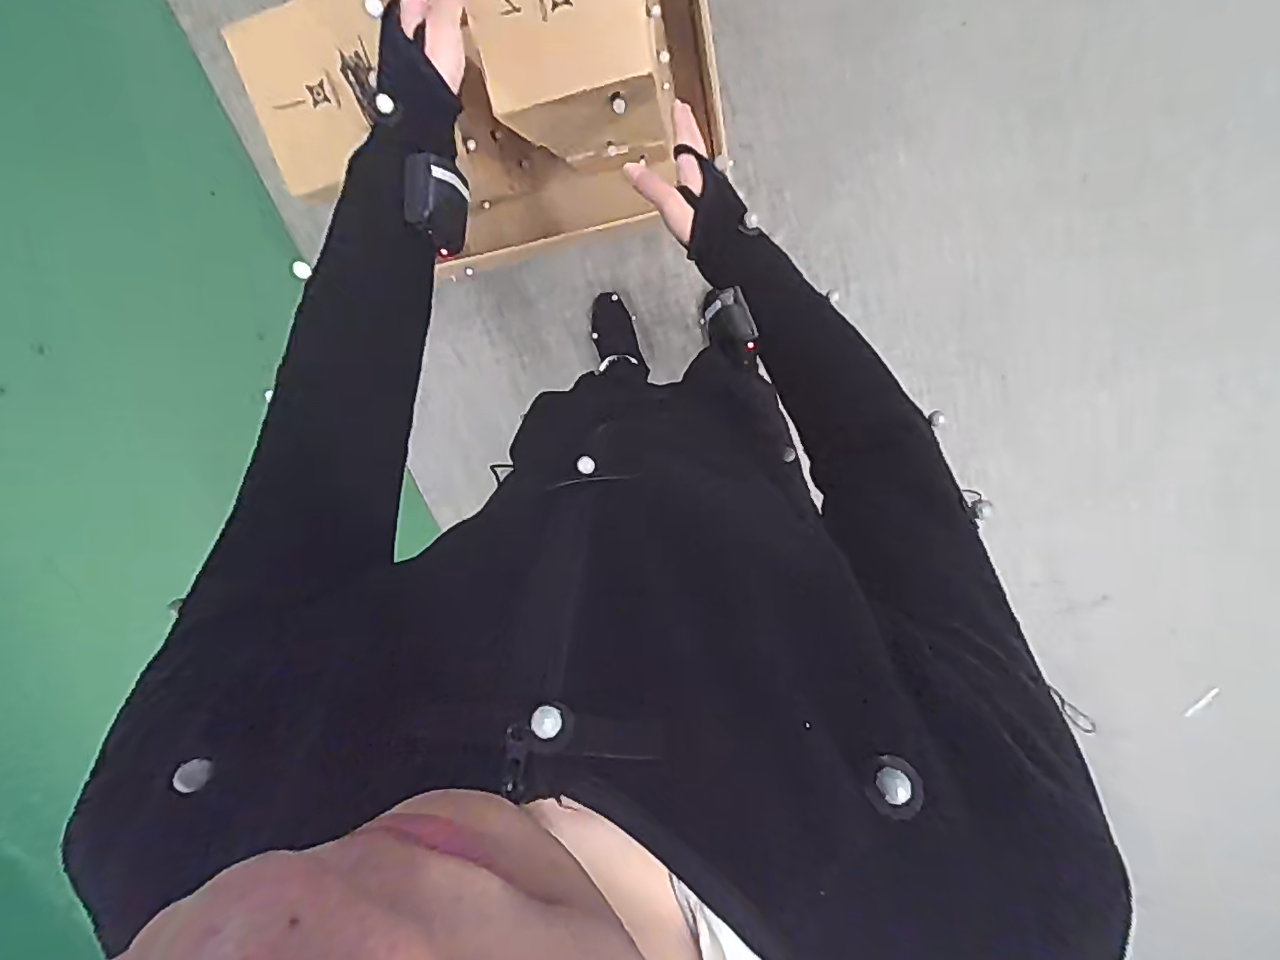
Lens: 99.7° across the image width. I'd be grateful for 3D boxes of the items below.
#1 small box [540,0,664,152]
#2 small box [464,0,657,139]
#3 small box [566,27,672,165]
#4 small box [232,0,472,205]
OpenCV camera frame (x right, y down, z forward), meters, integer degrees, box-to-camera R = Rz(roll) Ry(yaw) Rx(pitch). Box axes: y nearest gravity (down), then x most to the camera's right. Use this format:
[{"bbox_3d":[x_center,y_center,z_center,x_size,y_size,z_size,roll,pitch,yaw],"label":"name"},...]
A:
[{"bbox_3d":[-0.062,-0.576,0.756,0.179,0.176,0.168,-6,112,9],"label":"small box"},{"bbox_3d":[-0.080,-0.507,0.607,0.179,0.176,0.168,-8,112,11],"label":"small box"},{"bbox_3d":[-0.041,-0.641,0.904,0.168,0.176,0.179,-5,112,9],"label":"small box"},{"bbox_3d":[-0.329,-0.453,0.666,0.179,0.176,0.168,-10,111,12],"label":"small box"}]
